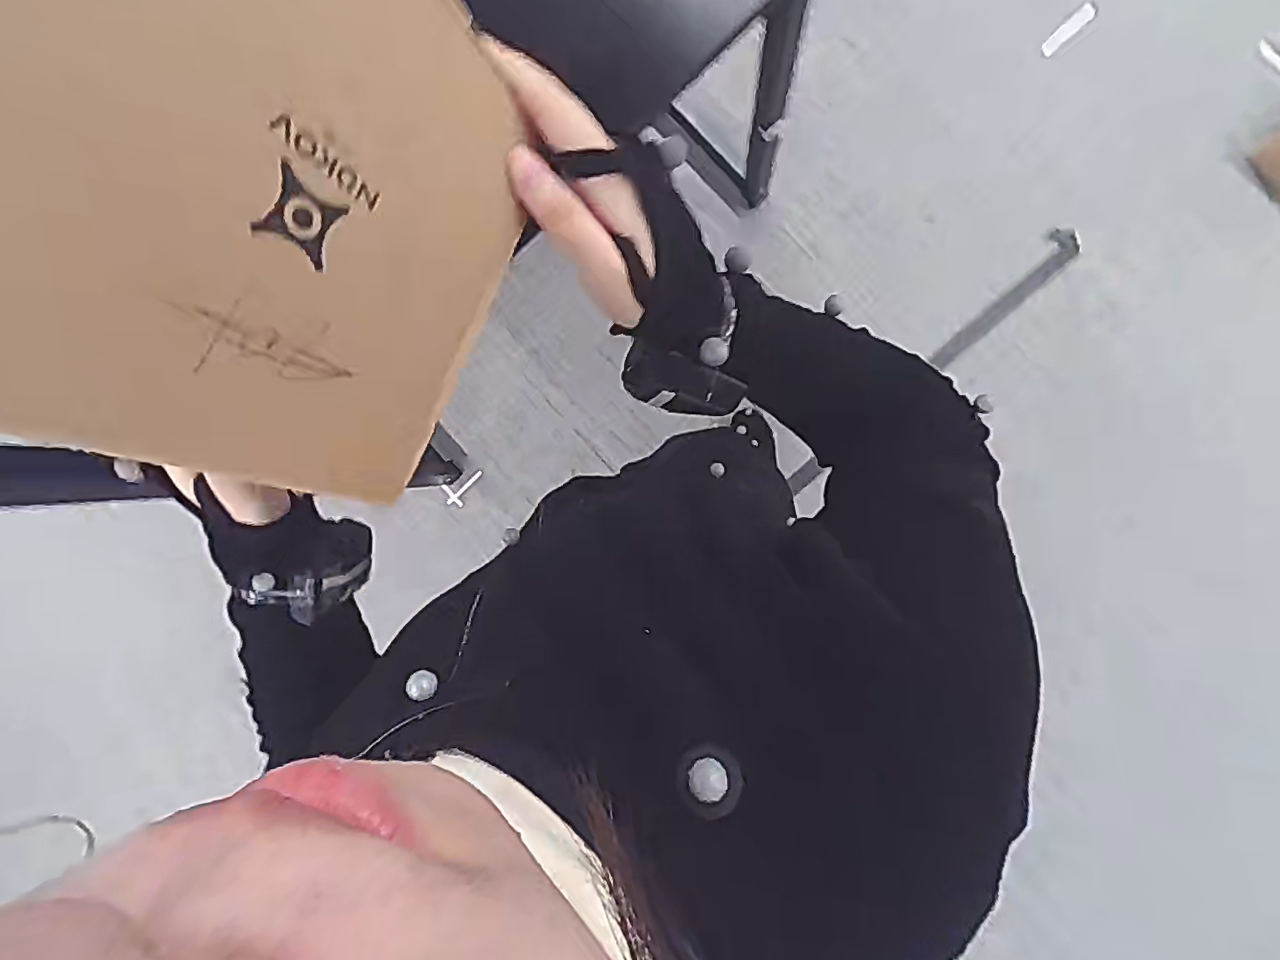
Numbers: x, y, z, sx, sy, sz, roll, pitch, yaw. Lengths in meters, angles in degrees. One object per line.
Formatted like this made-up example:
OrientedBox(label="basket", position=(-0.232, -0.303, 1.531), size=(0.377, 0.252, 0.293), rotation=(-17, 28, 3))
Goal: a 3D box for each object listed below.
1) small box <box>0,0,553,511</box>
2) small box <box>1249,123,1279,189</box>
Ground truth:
OrientedBox(label="small box", position=(-0.168, -0.110, 0.193), size=(0.176, 0.168, 0.179), rotation=(22, 86, 24))
OrientedBox(label="small box", position=(1.562, -0.771, 1.208), size=(0.168, 0.176, 0.179), rotation=(-41, 88, 6))
